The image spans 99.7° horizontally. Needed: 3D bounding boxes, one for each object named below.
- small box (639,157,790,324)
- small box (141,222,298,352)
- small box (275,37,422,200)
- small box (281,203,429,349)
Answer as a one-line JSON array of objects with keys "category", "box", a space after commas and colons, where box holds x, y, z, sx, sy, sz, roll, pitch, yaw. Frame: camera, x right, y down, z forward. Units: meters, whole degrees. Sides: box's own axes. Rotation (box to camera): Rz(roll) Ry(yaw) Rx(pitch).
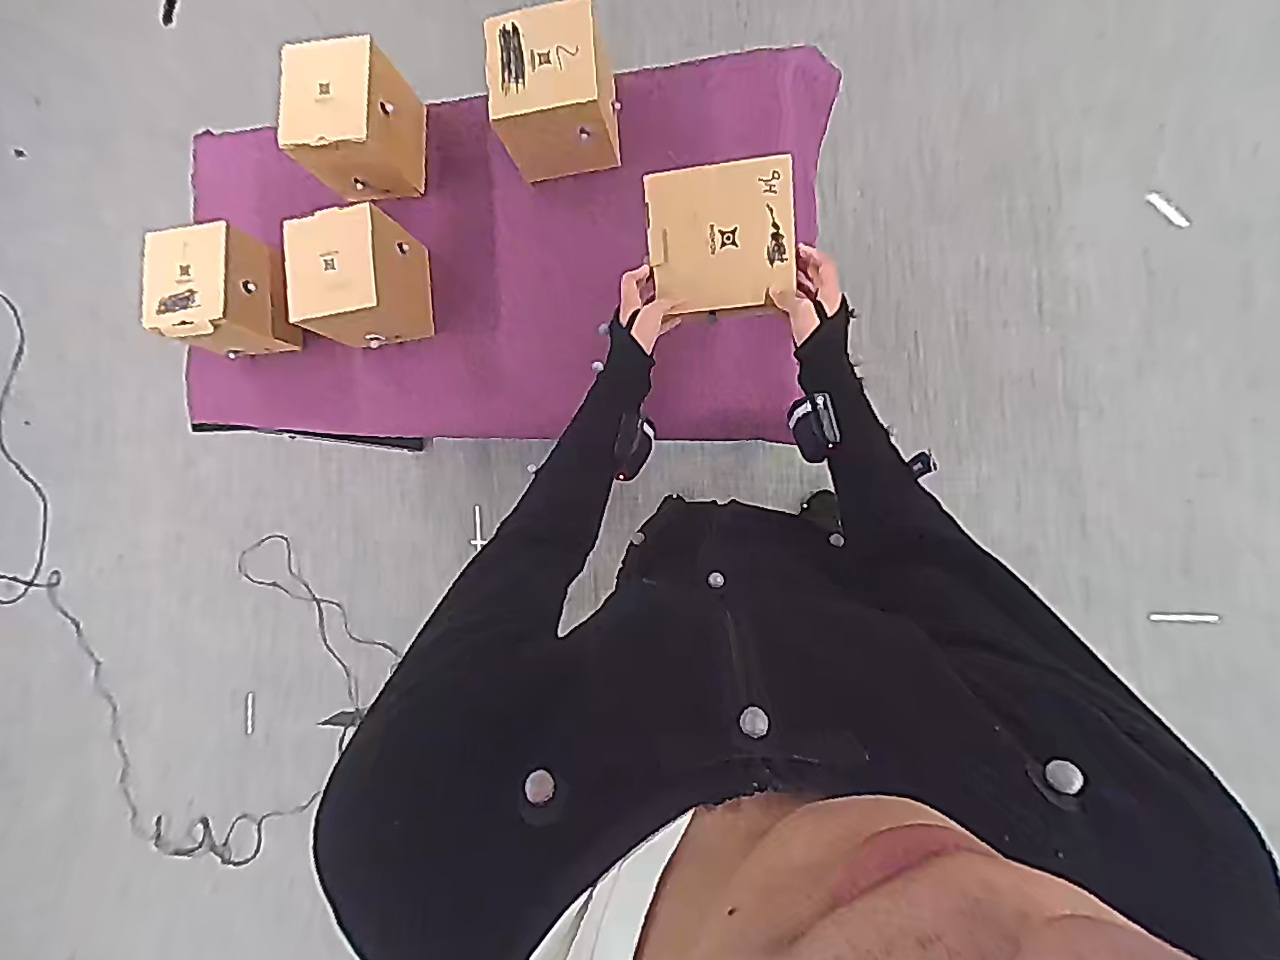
[{"category": "small box", "box": [0.101, -0.307, 0.728, 0.179, 0.176, 0.168, -4, 102, 8]}, {"category": "small box", "box": [-0.765, -0.342, 0.999, 0.168, 0.176, 0.179, -3, 86, 9]}, {"category": "small box", "box": [-0.509, -0.631, 0.964, 0.168, 0.176, 0.179, 1, 89, 9]}, {"category": "small box", "box": [-0.494, -0.349, 0.956, 0.168, 0.176, 0.179, -6, 87, 10]}]
